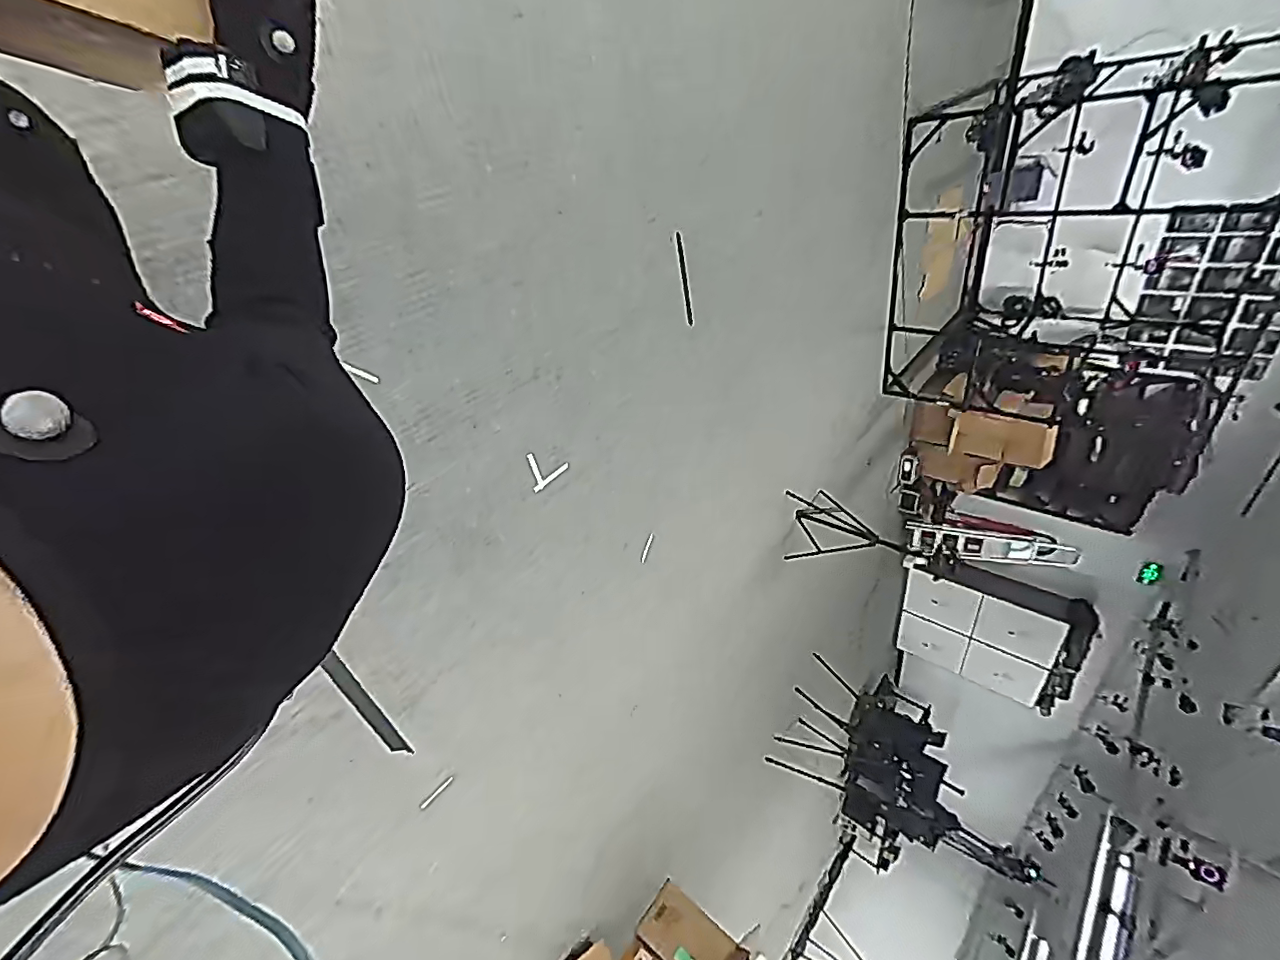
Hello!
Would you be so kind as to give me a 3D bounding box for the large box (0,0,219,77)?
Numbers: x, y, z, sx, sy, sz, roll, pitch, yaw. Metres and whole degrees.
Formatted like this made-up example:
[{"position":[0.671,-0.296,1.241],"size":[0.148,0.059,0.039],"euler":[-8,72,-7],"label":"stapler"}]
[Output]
[{"position":[-0.531,-0.483,0.289],"size":[0.408,0.320,0.320],"euler":[-14,121,-49],"label":"large box"}]
